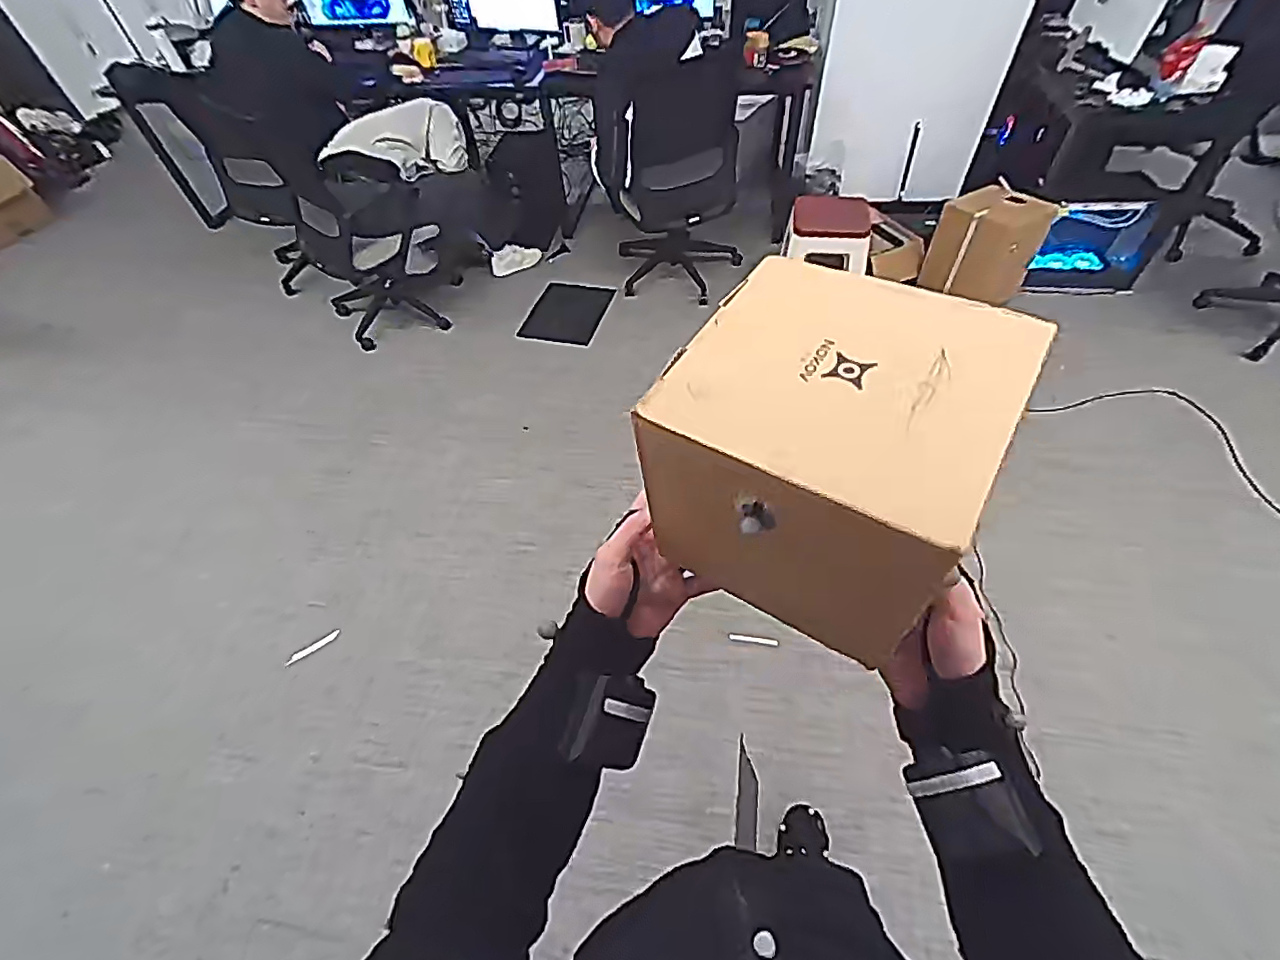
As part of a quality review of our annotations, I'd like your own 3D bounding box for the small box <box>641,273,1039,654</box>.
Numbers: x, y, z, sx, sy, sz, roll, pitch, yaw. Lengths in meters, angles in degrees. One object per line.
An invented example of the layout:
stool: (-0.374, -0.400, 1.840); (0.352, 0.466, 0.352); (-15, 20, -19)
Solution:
small box: (0.123, -0.009, 0.372); (0.179, 0.176, 0.168); (25, 61, 24)
